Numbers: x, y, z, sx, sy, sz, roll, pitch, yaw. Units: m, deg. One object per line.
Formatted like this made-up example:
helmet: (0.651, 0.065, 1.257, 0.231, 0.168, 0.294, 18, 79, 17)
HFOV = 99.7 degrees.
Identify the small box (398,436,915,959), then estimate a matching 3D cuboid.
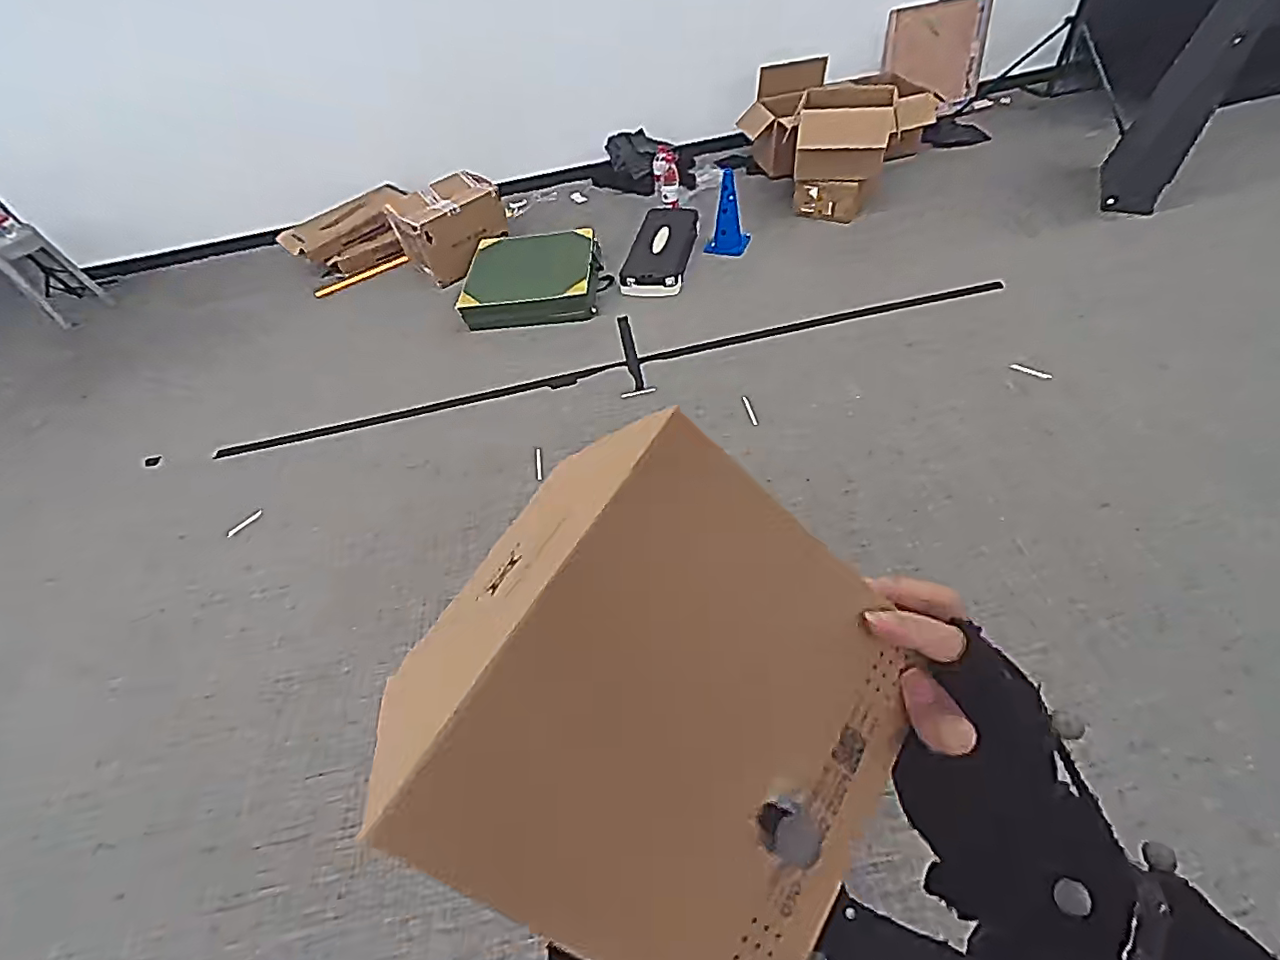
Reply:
small box: (-0.001, 0.104, 0.289, 0.176, 0.179, 0.168, 40, 70, -15)
